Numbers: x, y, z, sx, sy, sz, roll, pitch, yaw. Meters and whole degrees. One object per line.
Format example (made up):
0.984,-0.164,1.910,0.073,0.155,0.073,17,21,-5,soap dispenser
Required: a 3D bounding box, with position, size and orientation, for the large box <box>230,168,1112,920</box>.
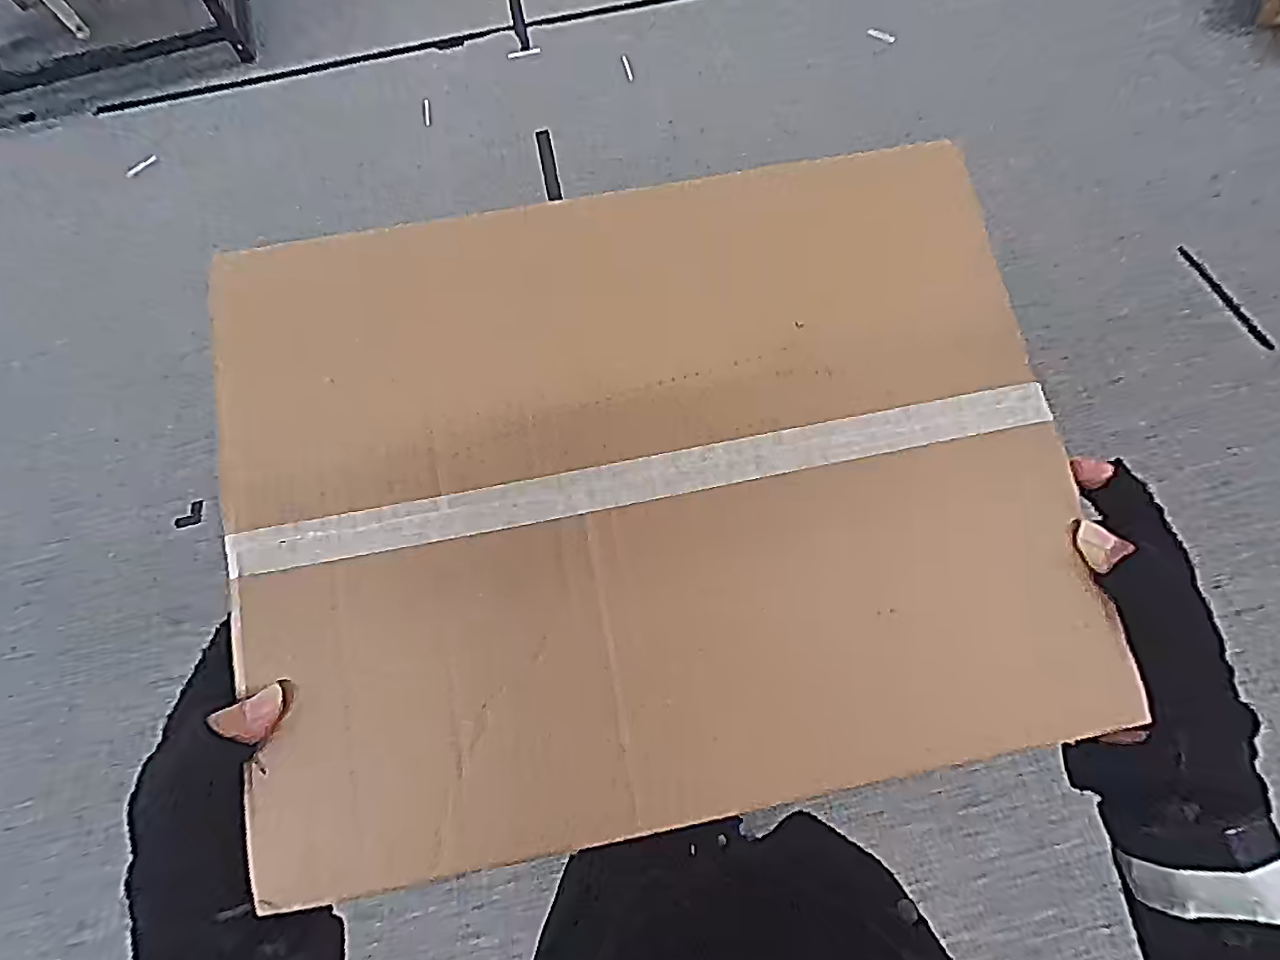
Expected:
0.005,0.032,0.419,0.408,0.320,0.320,-11,80,-3,large box
